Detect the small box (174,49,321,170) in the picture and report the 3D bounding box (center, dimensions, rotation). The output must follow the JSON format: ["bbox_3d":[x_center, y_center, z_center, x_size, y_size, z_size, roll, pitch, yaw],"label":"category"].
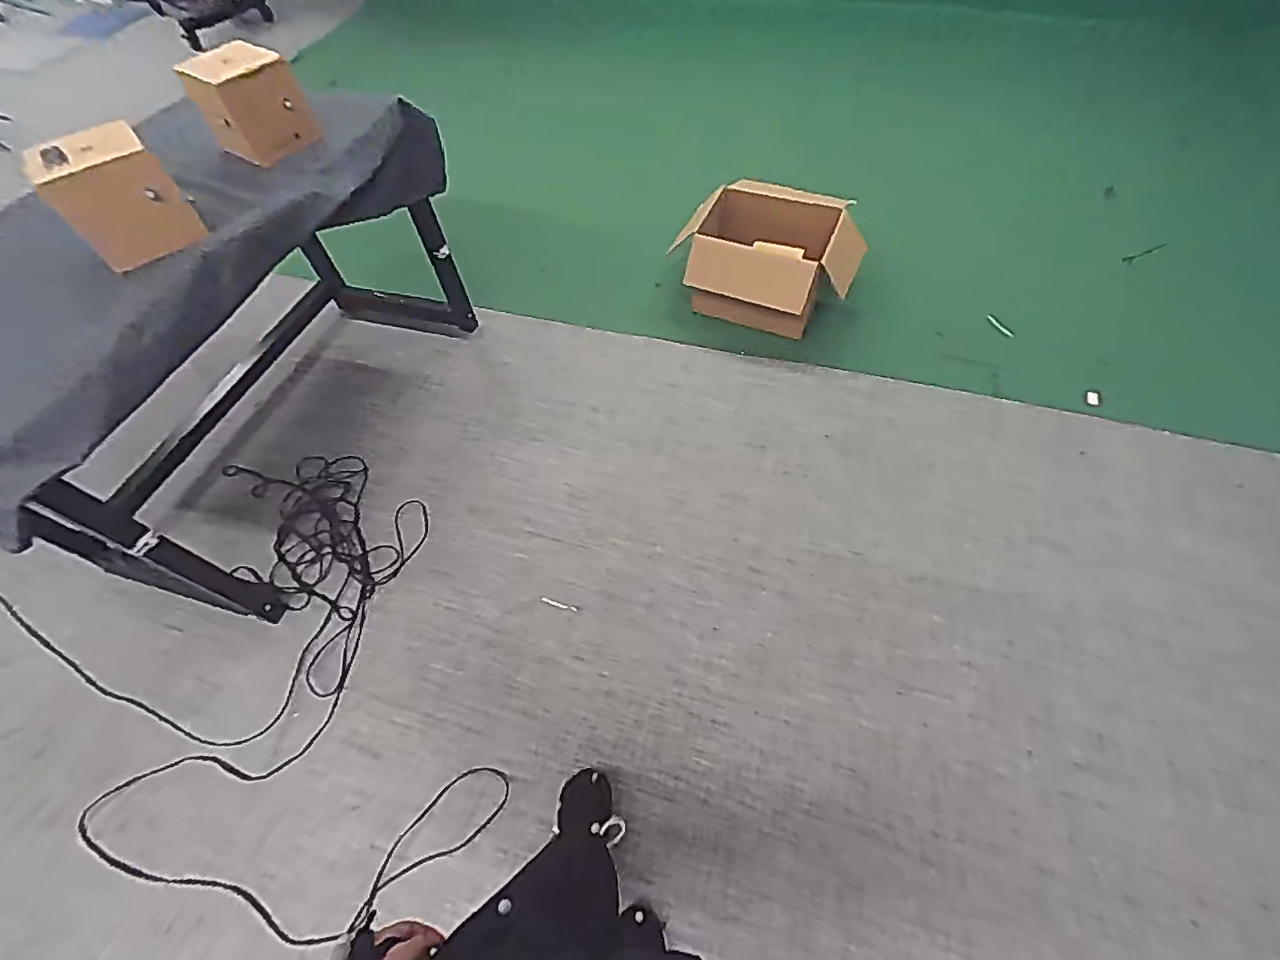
[{"bbox_3d":[-0.870,-0.828,1.217,0.179,0.176,0.168,29,62,22],"label":"small box"}]
